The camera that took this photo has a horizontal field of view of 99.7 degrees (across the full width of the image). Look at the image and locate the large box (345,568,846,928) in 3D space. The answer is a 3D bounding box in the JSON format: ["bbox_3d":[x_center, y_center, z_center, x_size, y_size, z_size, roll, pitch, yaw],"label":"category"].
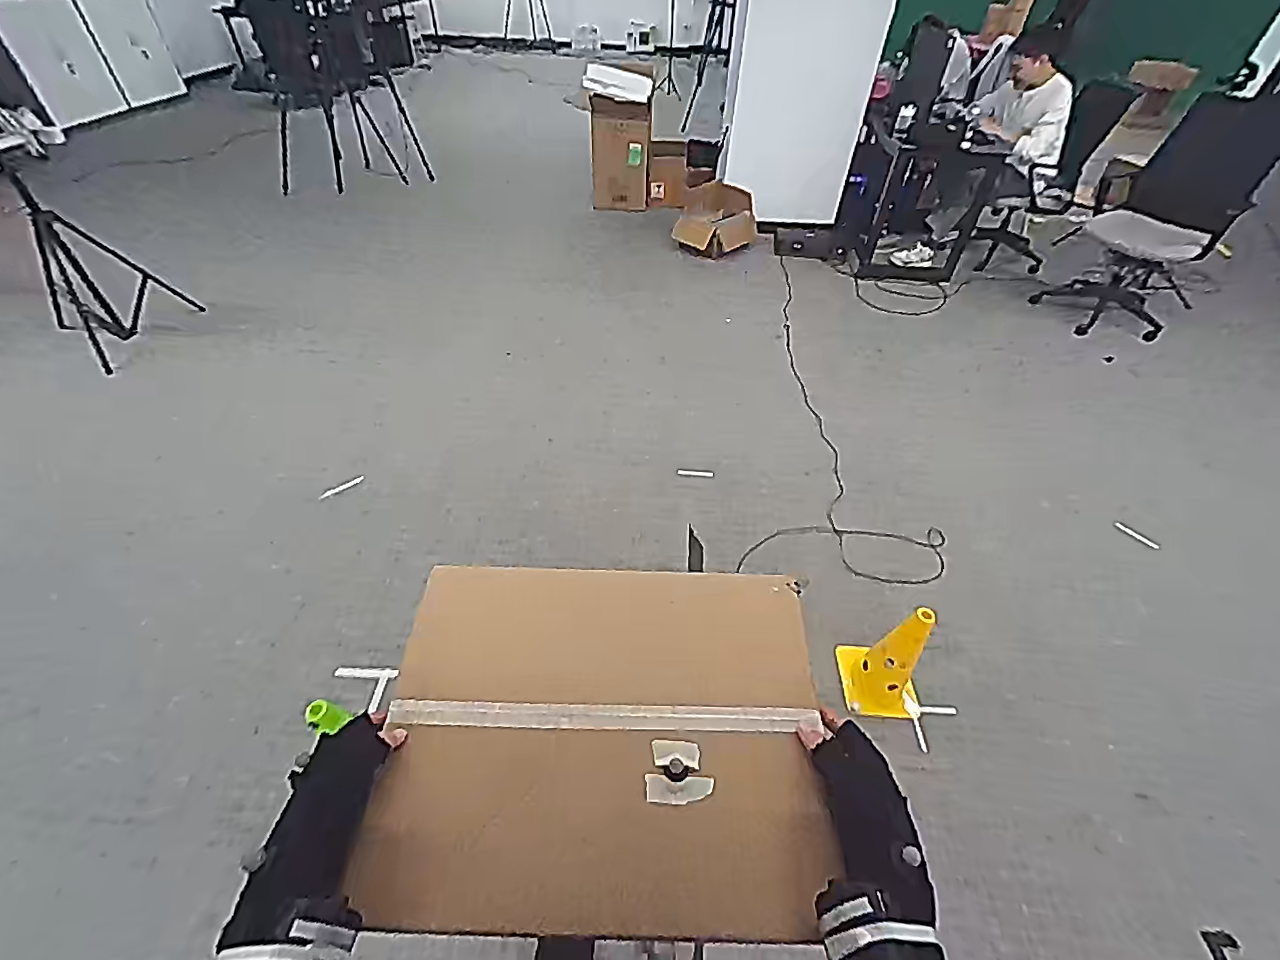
[{"bbox_3d":[-0.037,0.317,0.630,0.408,0.320,0.320,2,51,0],"label":"large box"}]
